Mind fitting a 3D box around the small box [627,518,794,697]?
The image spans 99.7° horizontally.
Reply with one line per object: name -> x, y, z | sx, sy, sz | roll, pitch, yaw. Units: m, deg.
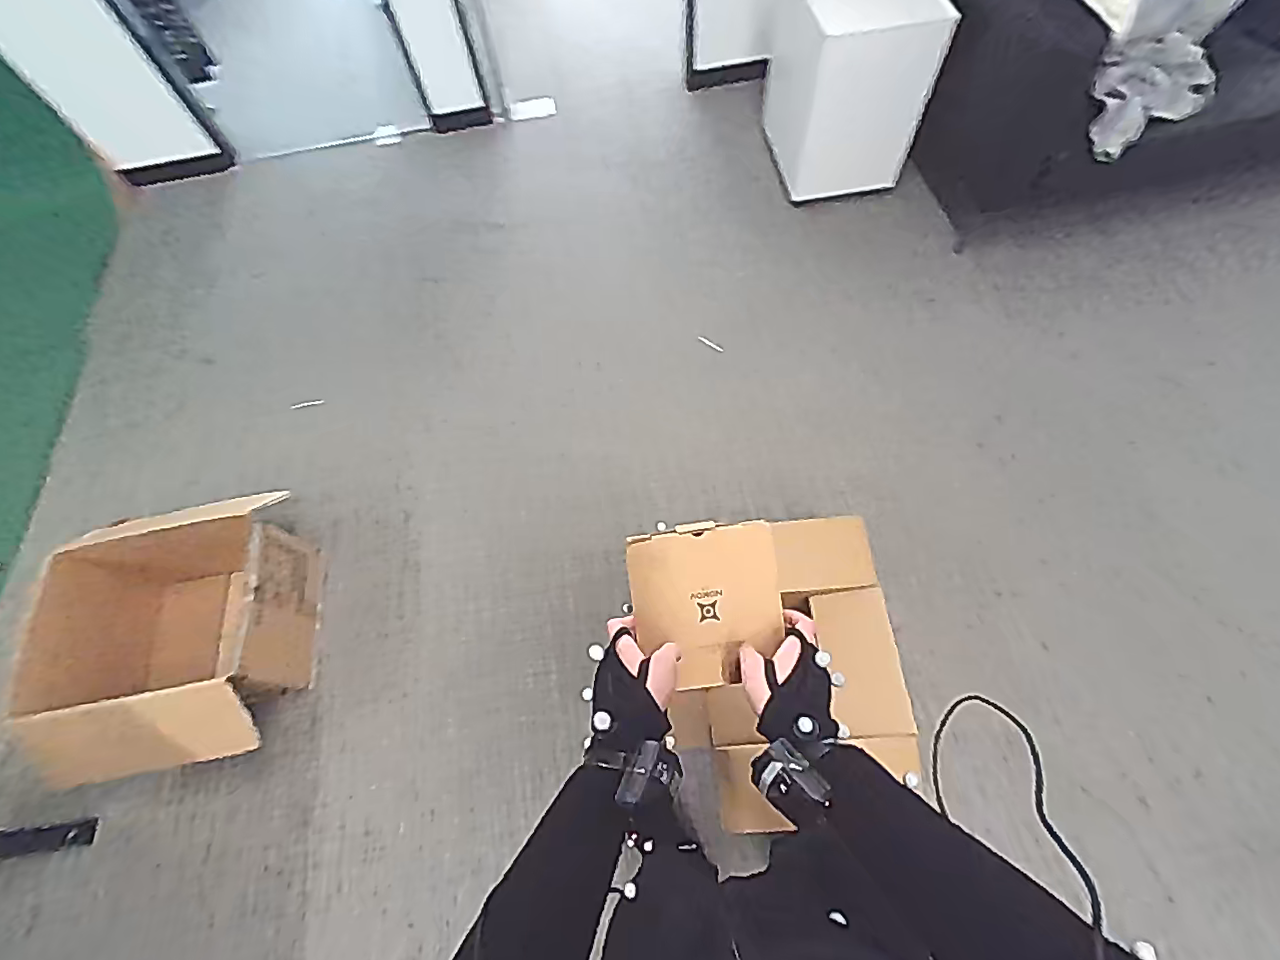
small box -> 0.074, 0.148, 0.667 | 0.168, 0.176, 0.179 | -8, 82, 0
